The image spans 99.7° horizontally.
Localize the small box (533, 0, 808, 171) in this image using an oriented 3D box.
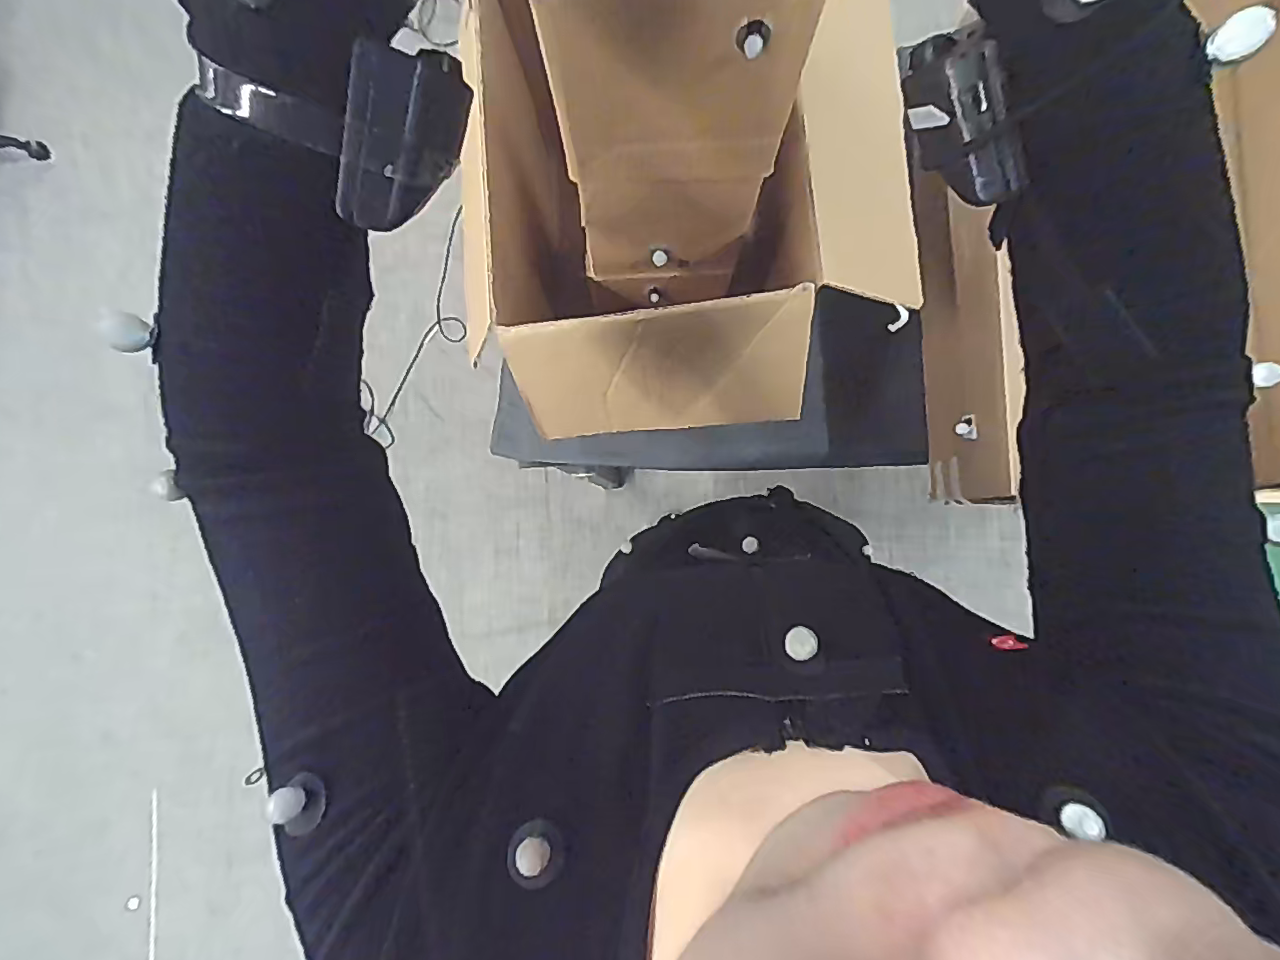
[{"bbox_3d":[0.019,-0.354,0.396,0.179,0.176,0.168,-2,85,0],"label":"small box"}]
